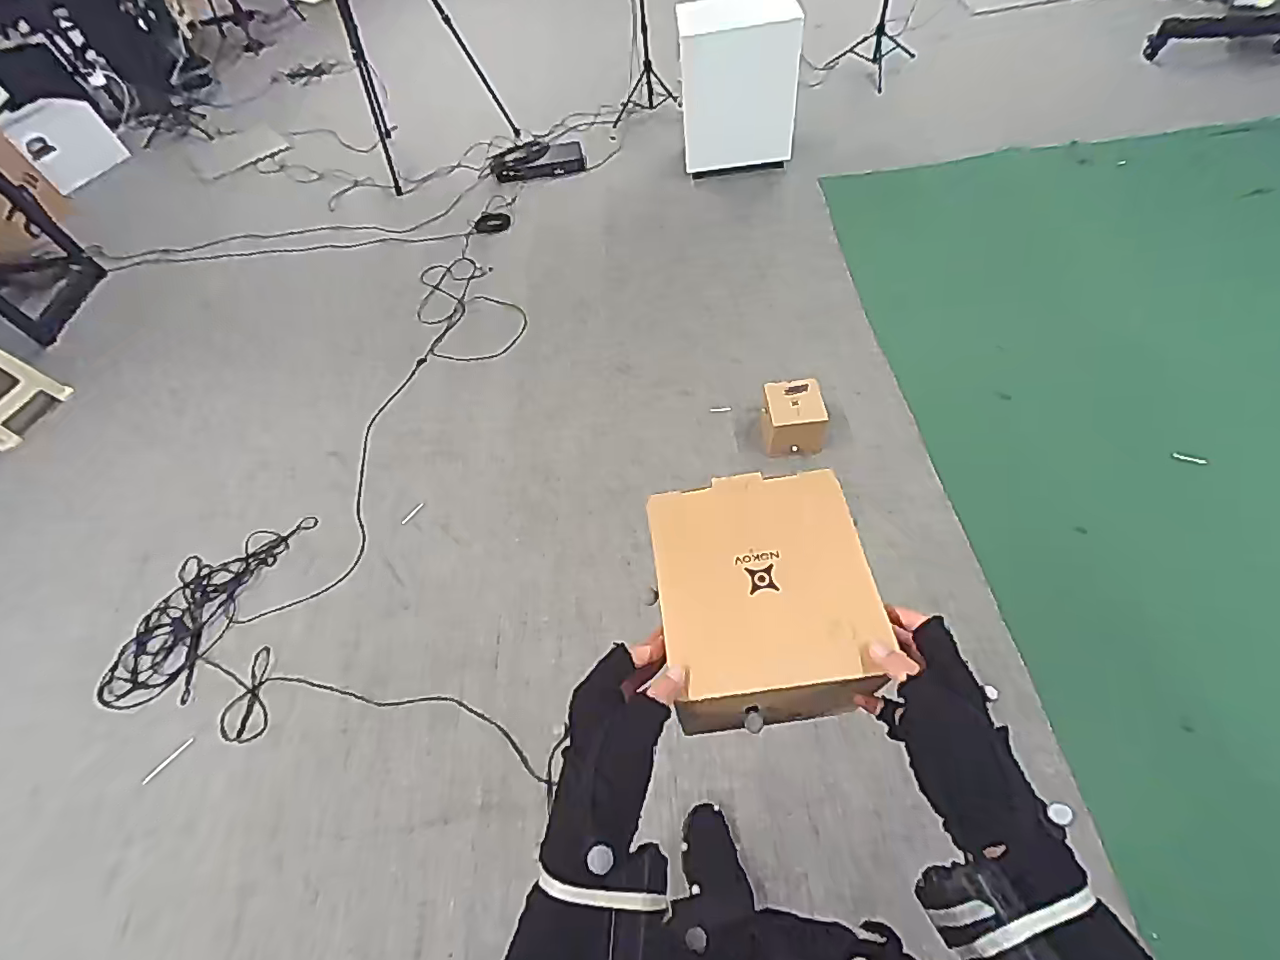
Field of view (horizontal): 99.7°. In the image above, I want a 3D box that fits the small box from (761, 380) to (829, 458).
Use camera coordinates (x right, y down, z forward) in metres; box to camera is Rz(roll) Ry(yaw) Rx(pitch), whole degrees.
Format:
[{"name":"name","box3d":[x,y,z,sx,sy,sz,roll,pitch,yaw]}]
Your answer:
[{"name":"small box","box3d":[0.485,-0.193,1.721,0.168,0.176,0.179,-6,57,4]}]
